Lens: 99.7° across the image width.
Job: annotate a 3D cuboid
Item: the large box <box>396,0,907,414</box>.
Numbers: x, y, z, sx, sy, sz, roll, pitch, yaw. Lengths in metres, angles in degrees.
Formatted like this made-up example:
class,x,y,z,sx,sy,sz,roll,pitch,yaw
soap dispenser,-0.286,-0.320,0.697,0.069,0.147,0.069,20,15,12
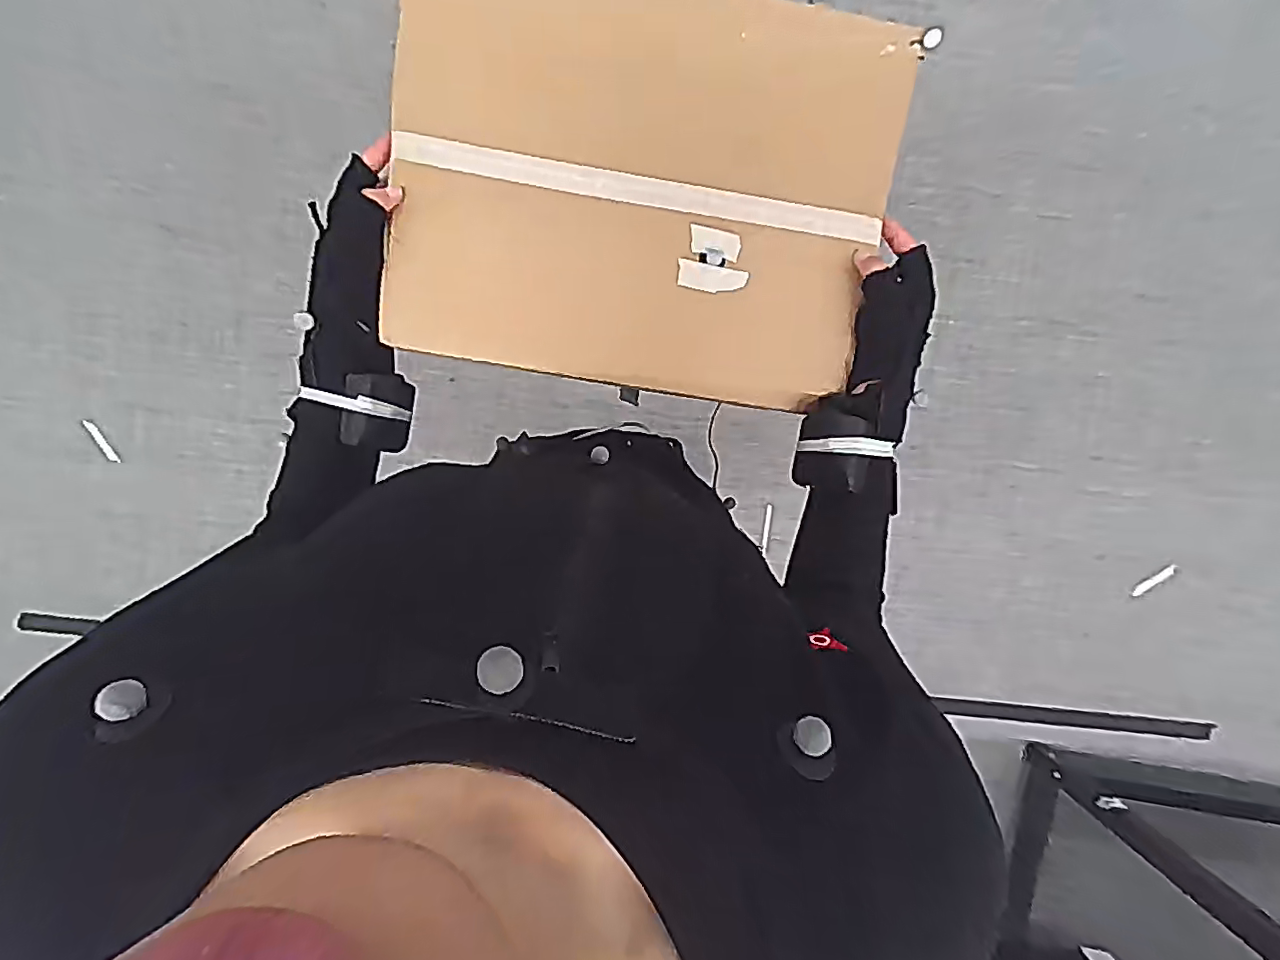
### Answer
class,x,y,z,sx,sy,sz,roll,pitch,yaw
large box,-0.004,-0.261,0.602,0.408,0.320,0.320,9,101,-4
